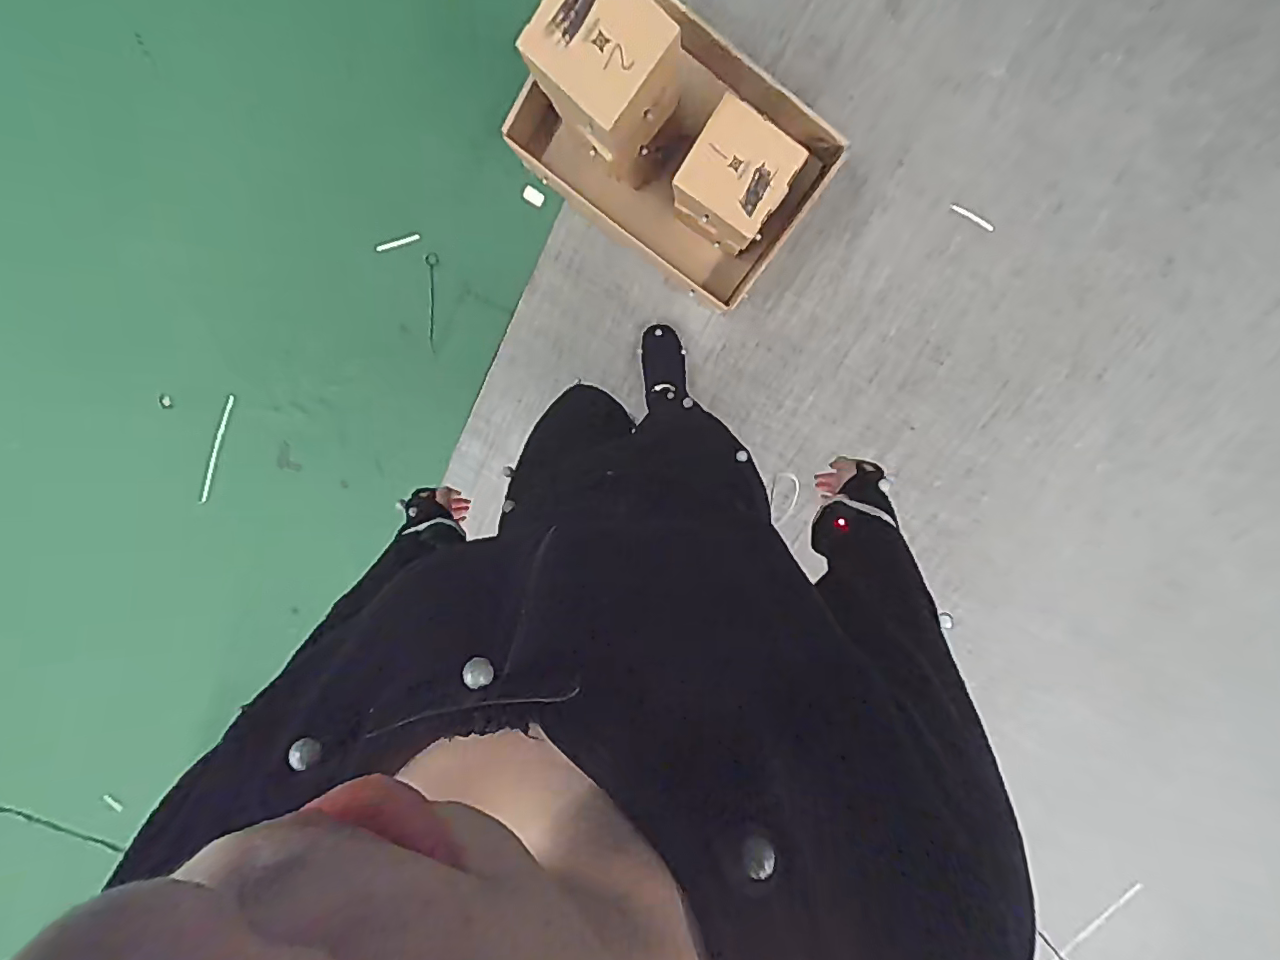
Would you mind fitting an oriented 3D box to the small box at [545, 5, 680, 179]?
[{"bbox_3d":[-0.044,-0.697,1.000,0.168,0.176,0.179,-42,101,15],"label":"small box"}]

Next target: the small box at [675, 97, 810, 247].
[{"bbox_3d":[0.187,-0.559,1.013,0.179,0.176,0.168,35,107,-3],"label":"small box"}]
